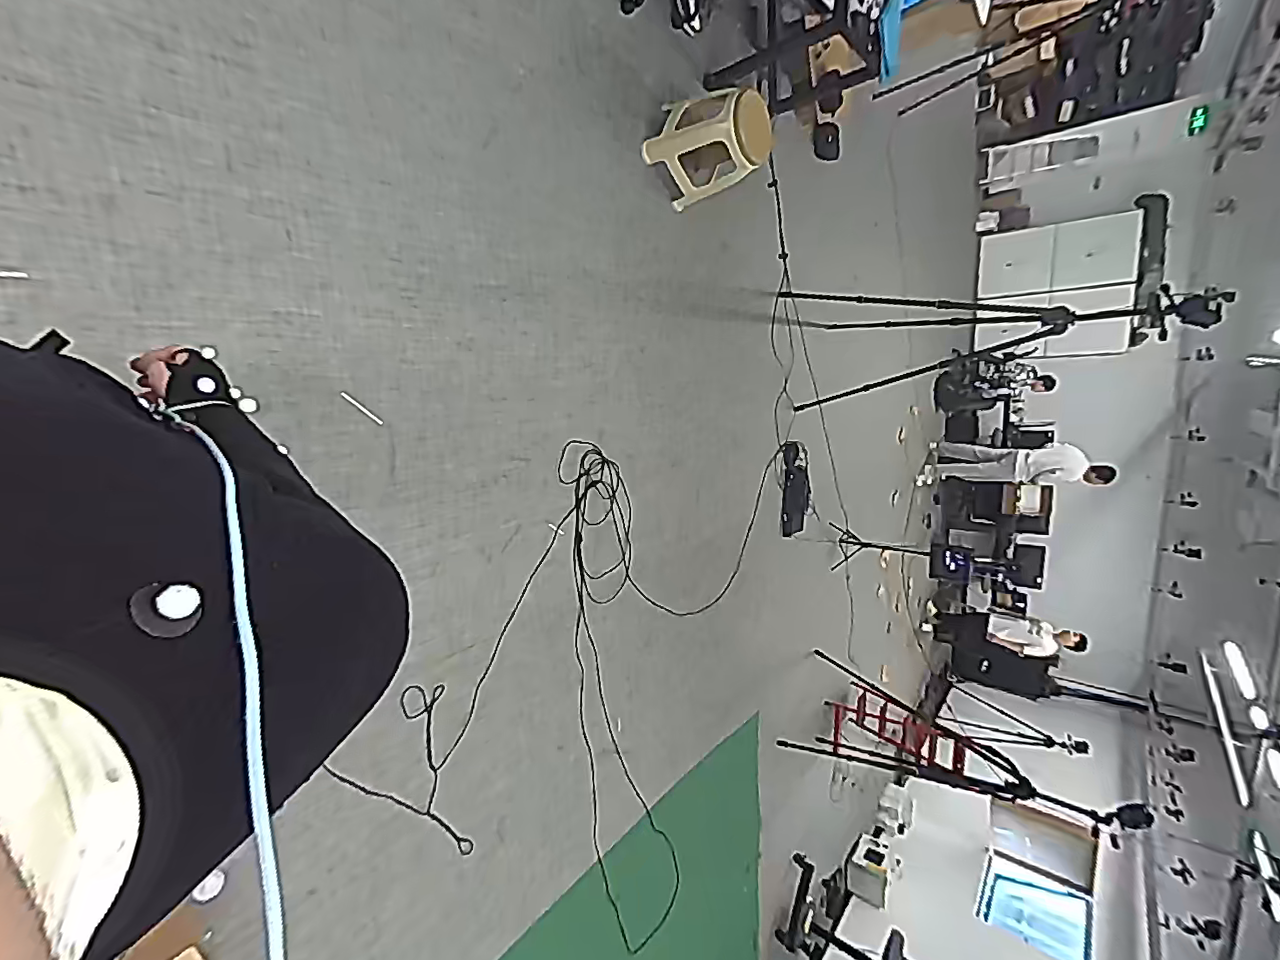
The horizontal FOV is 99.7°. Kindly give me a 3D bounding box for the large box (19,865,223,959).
[{"bbox_3d":[-1.160,1.161,1.147,0.408,0.320,0.320,-26,113,-44],"label":"large box"}]
